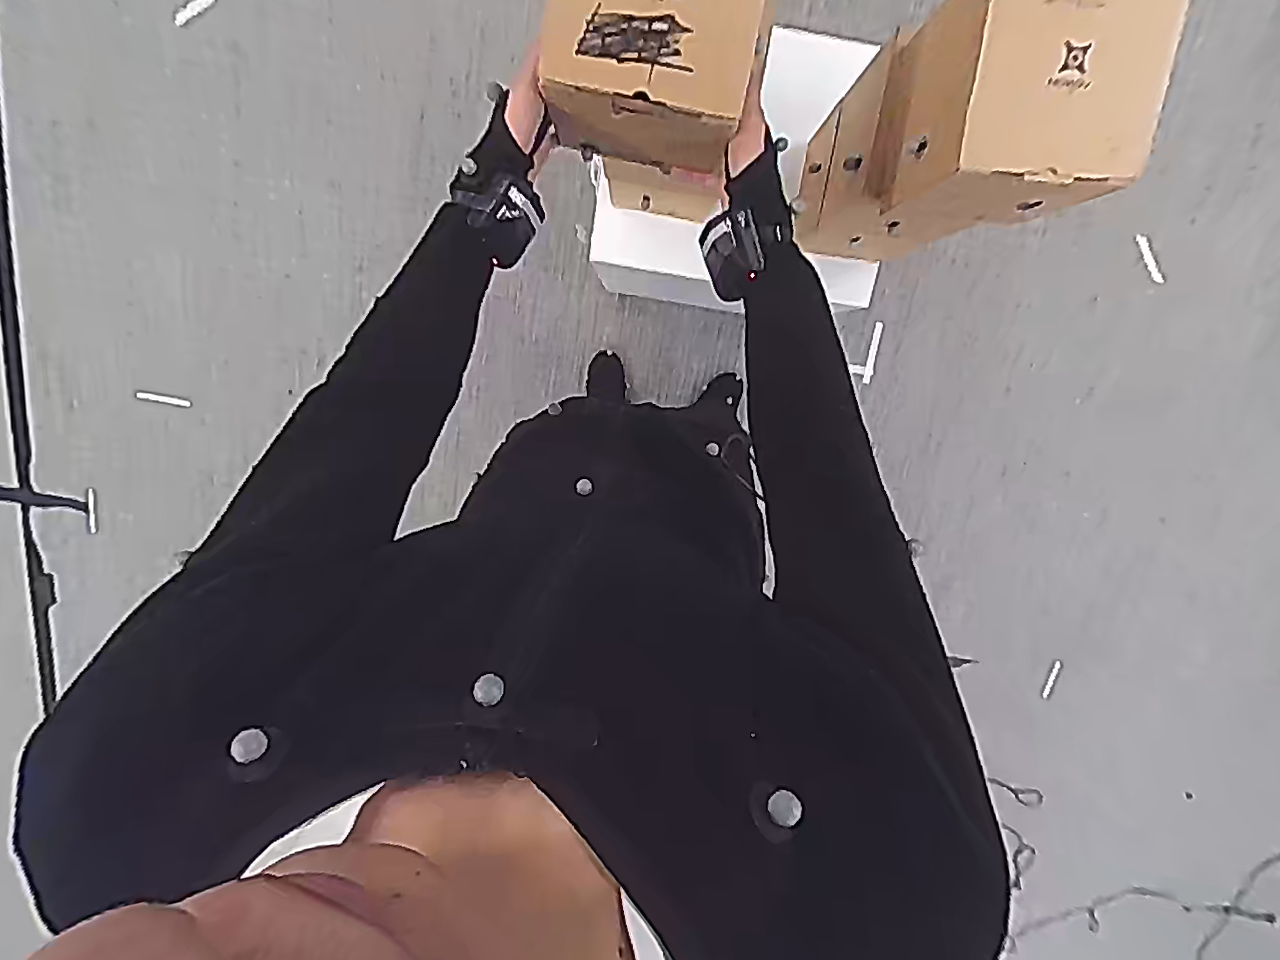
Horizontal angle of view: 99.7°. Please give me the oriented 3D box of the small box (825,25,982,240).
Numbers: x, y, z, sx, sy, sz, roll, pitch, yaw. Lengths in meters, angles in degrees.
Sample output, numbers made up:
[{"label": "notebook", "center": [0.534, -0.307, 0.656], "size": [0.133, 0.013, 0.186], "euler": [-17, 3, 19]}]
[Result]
[{"label": "small box", "center": [0.350, -0.417, 0.683], "size": [0.168, 0.176, 0.179], "euler": [8, 104, -2]}]

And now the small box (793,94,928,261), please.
[{"label": "small box", "center": [0.350, -0.457, 0.844], "size": [0.168, 0.176, 0.179], "euler": [8, 103, -1]}]

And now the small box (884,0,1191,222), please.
[{"label": "small box", "center": [0.362, -0.365, 0.529], "size": [0.168, 0.176, 0.179], "euler": [3, 104, -1]}]

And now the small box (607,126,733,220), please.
[{"label": "small box", "center": [0.048, -0.519, 0.829], "size": [0.168, 0.176, 0.179], "euler": [10, 103, -3]}]

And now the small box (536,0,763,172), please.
[{"label": "small box", "center": [0.013, -0.399, 0.480], "size": [0.168, 0.176, 0.179], "euler": [10, 105, -4]}]
